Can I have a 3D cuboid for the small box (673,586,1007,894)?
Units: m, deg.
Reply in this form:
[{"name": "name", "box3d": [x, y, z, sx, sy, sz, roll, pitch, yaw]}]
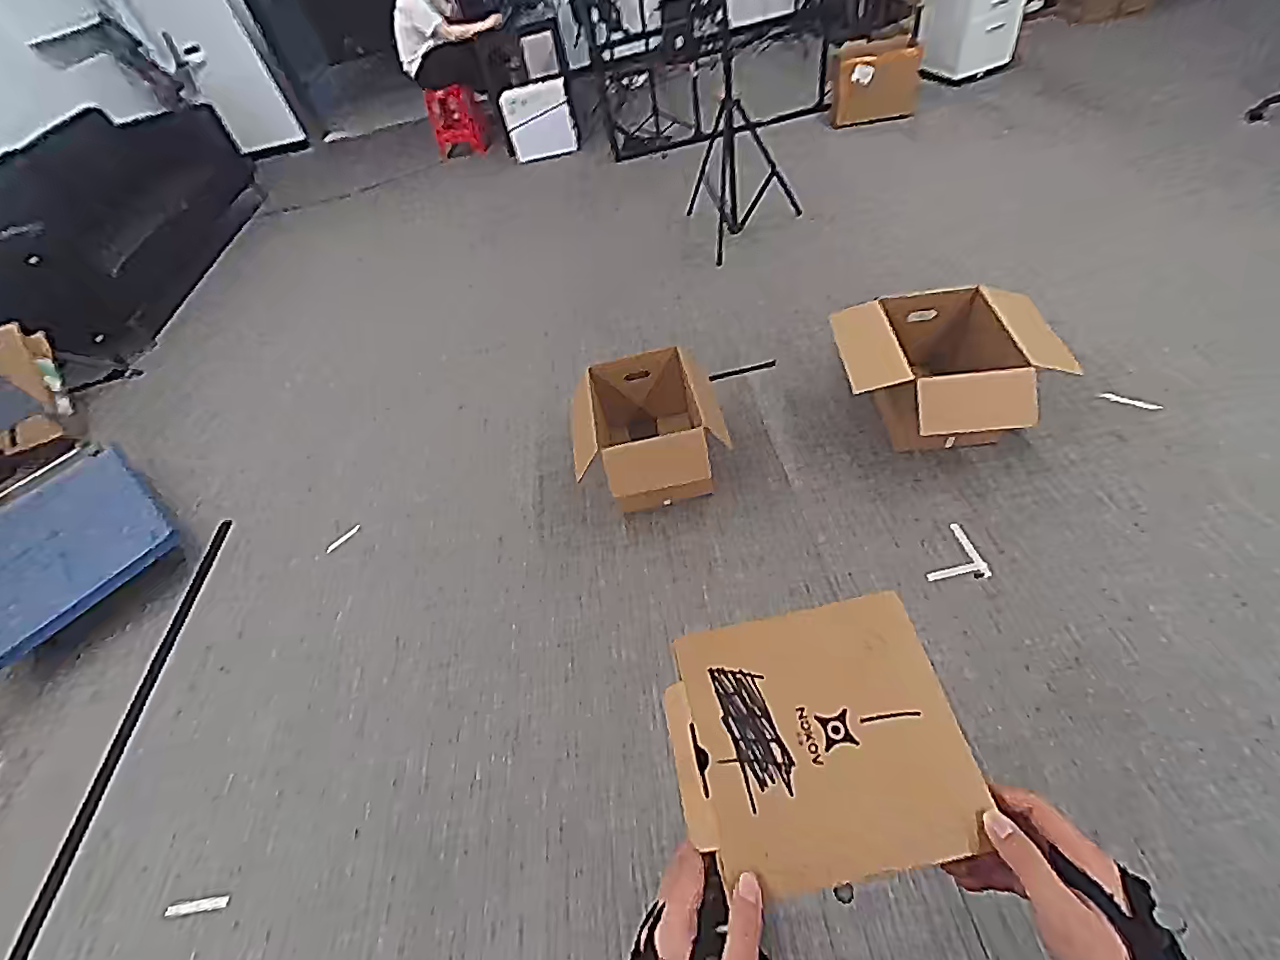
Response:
[{"name": "small box", "box3d": [0.132, 0.205, 0.431, 0.179, 0.176, 0.168, -12, 59, 0]}]
